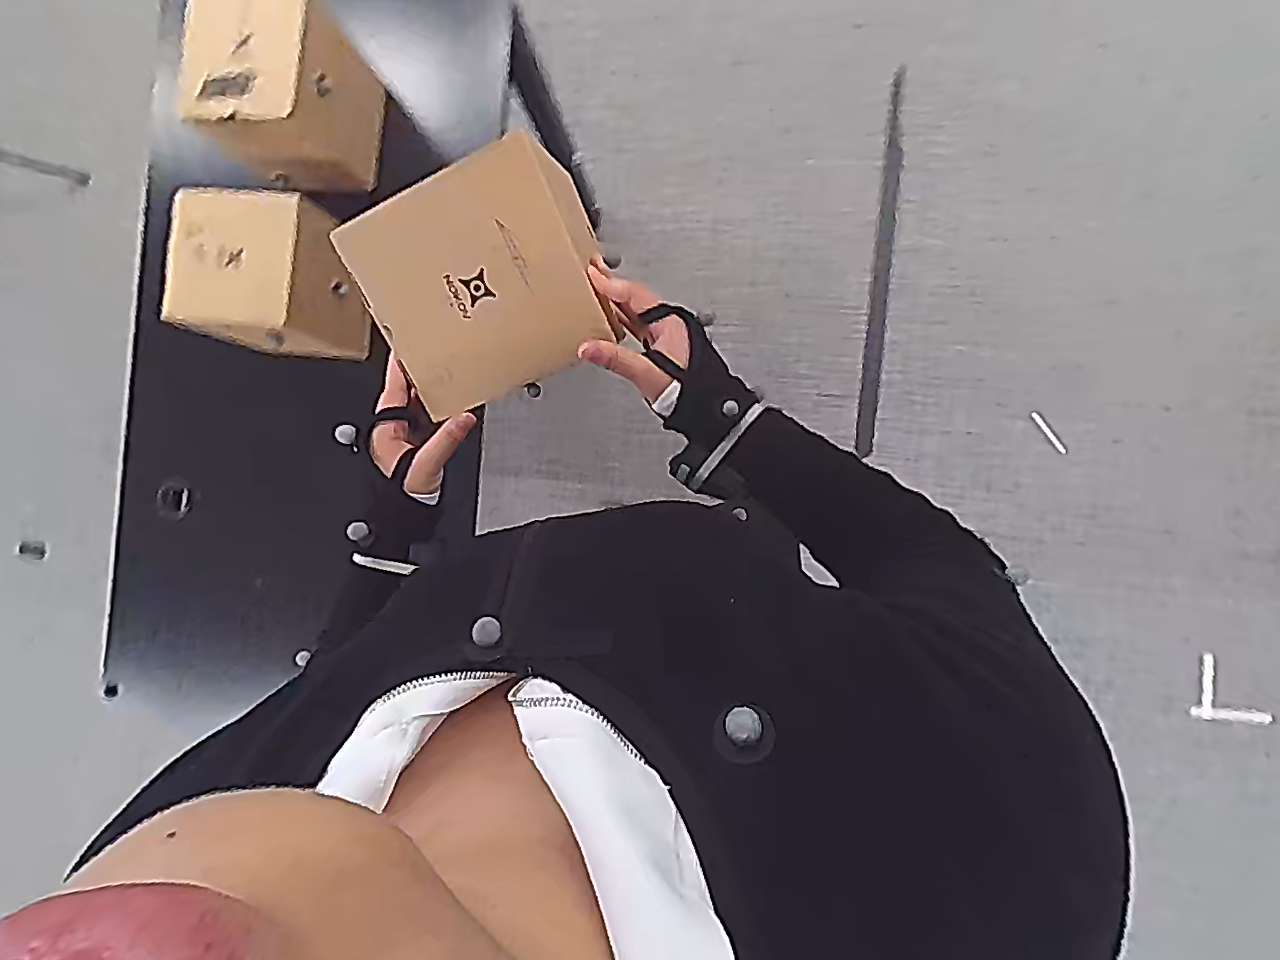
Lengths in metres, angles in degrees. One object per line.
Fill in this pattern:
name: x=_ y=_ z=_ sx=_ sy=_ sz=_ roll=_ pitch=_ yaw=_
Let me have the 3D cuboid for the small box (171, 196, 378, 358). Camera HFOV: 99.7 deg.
small box: x=-0.504 y=-0.276 z=0.769 sx=0.179 sy=0.176 sz=0.168 roll=6 pitch=89 yaw=8

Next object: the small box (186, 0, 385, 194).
small box: x=-0.492 y=-0.537 z=0.773 sx=0.168 sy=0.176 sz=0.179 roll=6 pitch=89 yaw=8
